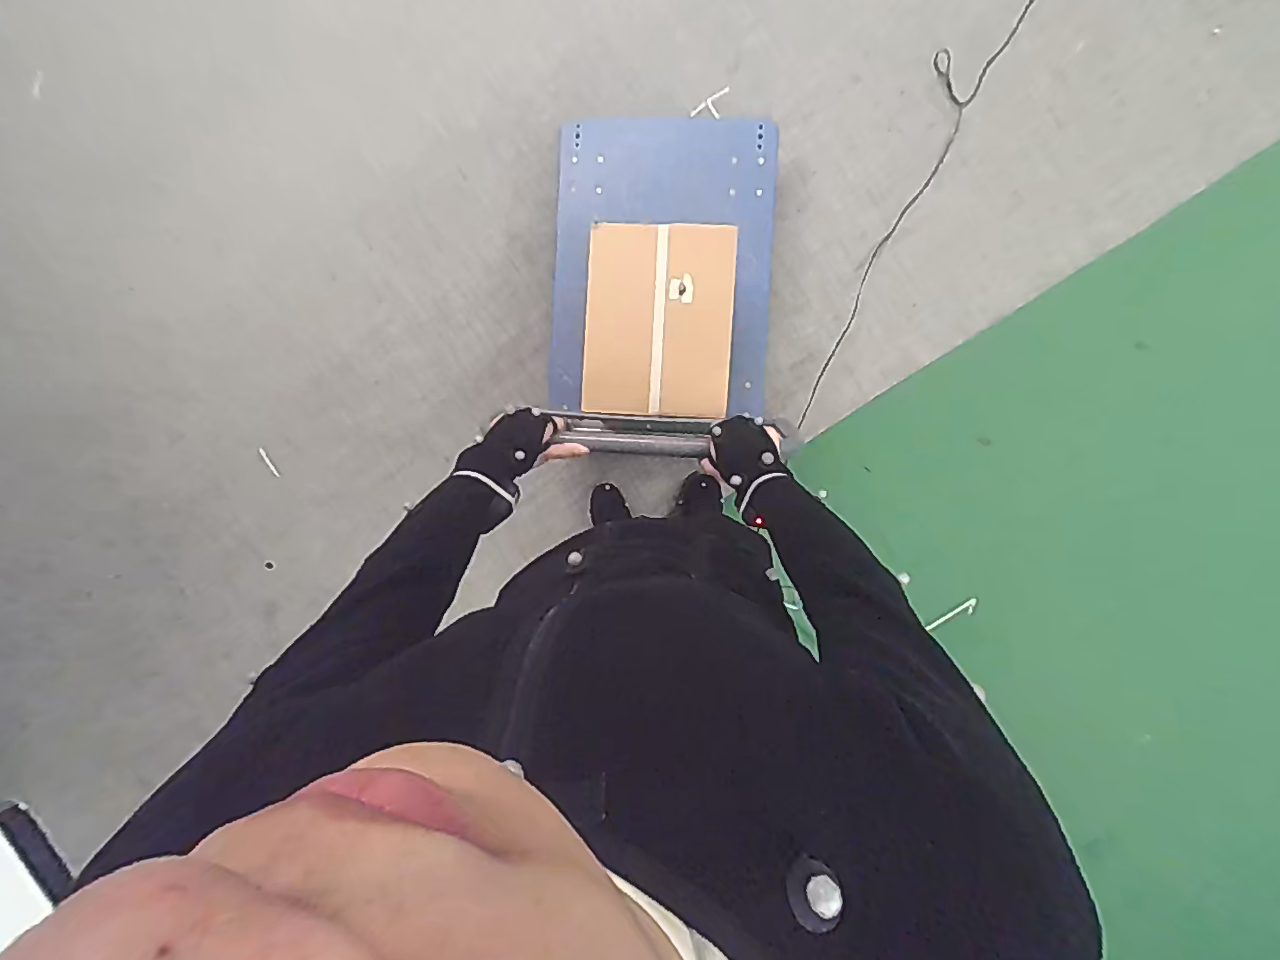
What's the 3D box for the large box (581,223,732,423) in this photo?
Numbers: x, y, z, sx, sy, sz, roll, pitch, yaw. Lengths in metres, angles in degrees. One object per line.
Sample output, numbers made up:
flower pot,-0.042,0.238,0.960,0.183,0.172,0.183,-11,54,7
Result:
large box,0.046,-0.353,1.311,0.320,0.320,0.408,4,92,4
